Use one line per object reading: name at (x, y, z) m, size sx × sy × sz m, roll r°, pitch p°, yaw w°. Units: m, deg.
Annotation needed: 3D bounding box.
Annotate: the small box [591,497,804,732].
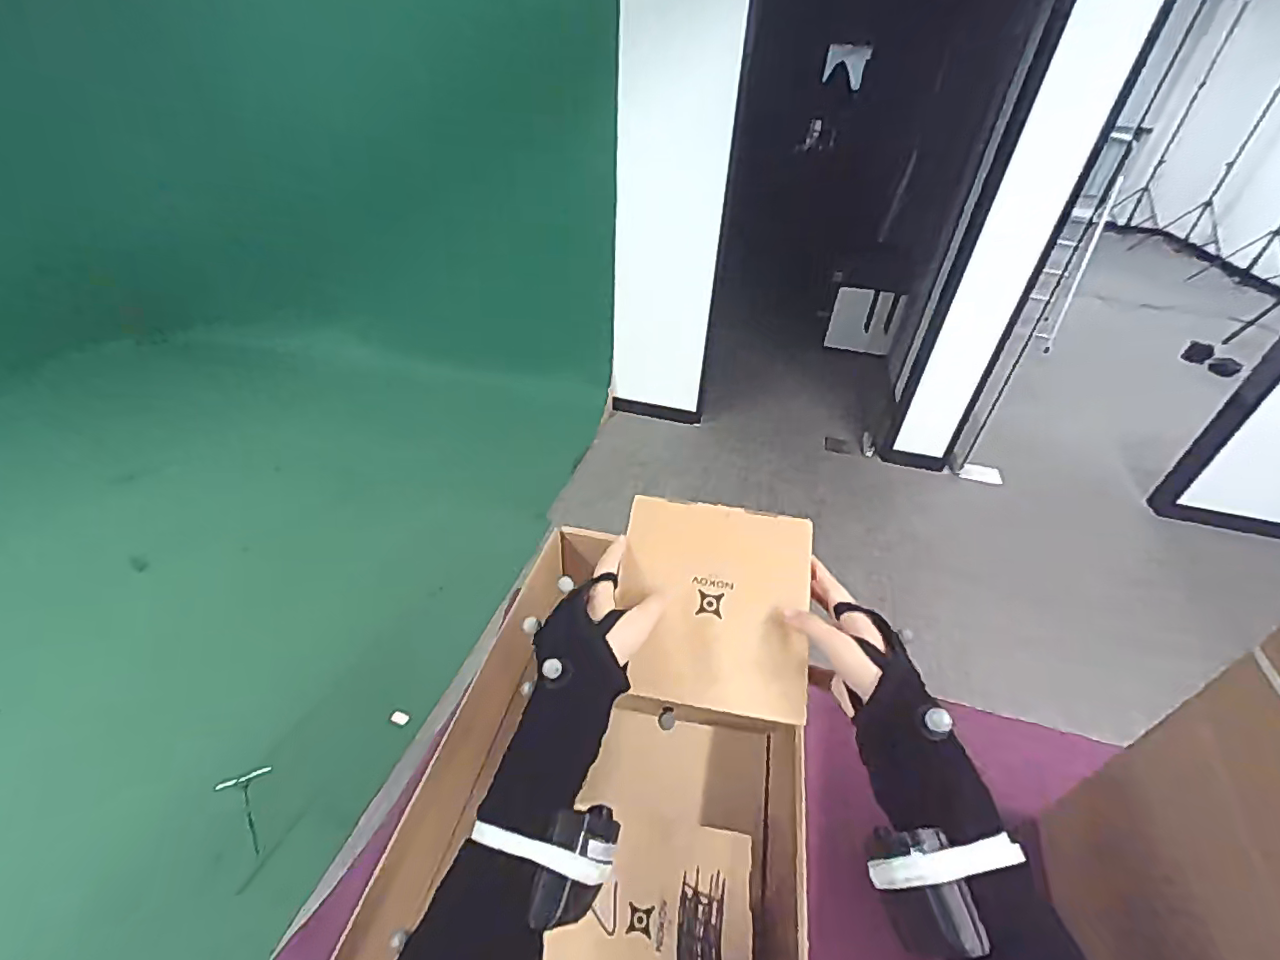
small box at (0.058, 0.139, 0.534) m, size 0.168 × 0.176 × 0.179 m, roll 8°, pitch 62°, yaw 6°
